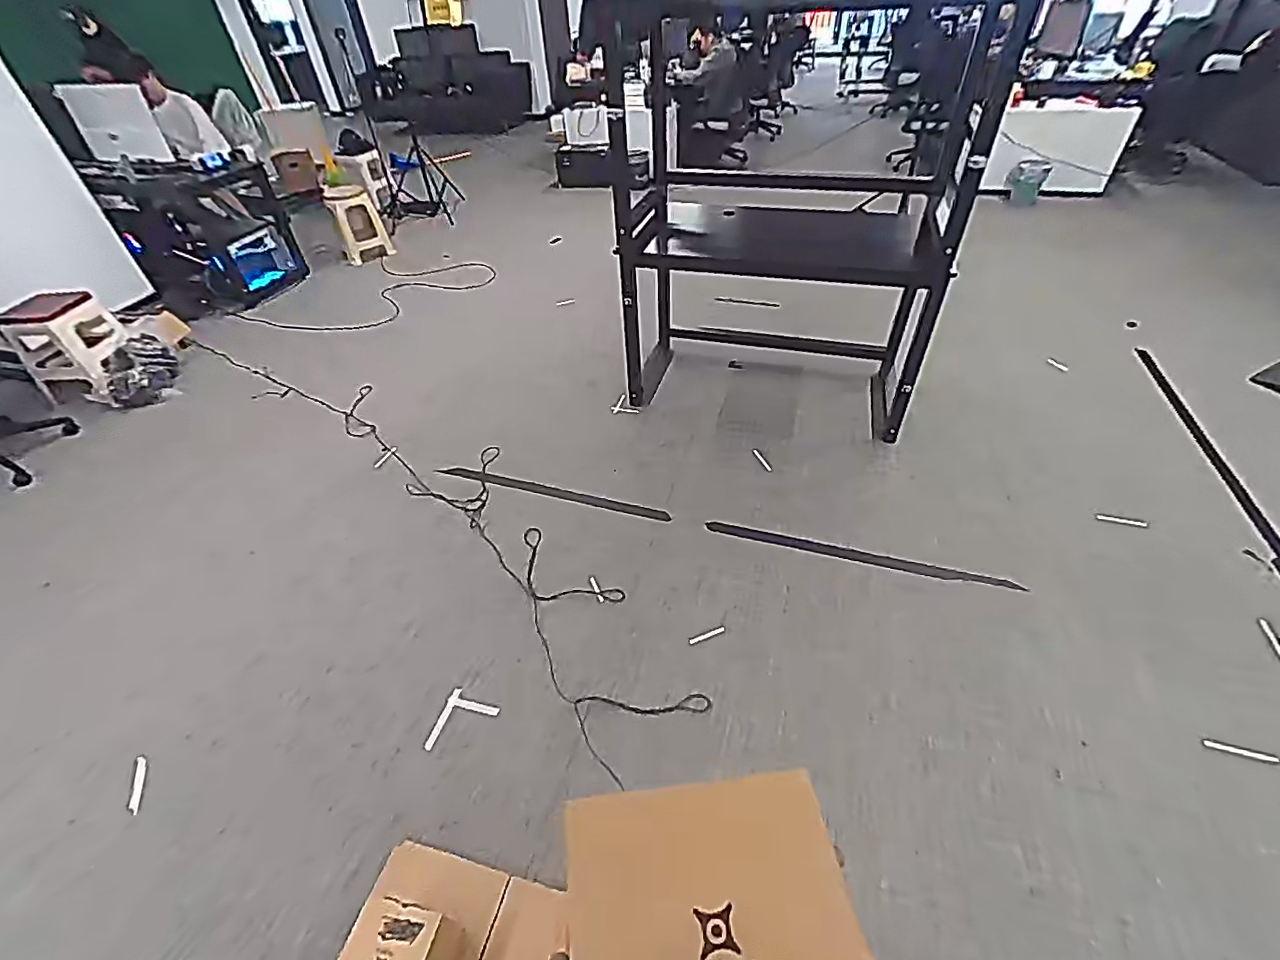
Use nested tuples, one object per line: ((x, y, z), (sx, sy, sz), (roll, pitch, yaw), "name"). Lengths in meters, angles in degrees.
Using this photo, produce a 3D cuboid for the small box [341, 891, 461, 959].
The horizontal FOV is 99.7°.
((-0.473, 0.953, 1.066), (0.168, 0.176, 0.179), (7, 44, 11), "small box")
